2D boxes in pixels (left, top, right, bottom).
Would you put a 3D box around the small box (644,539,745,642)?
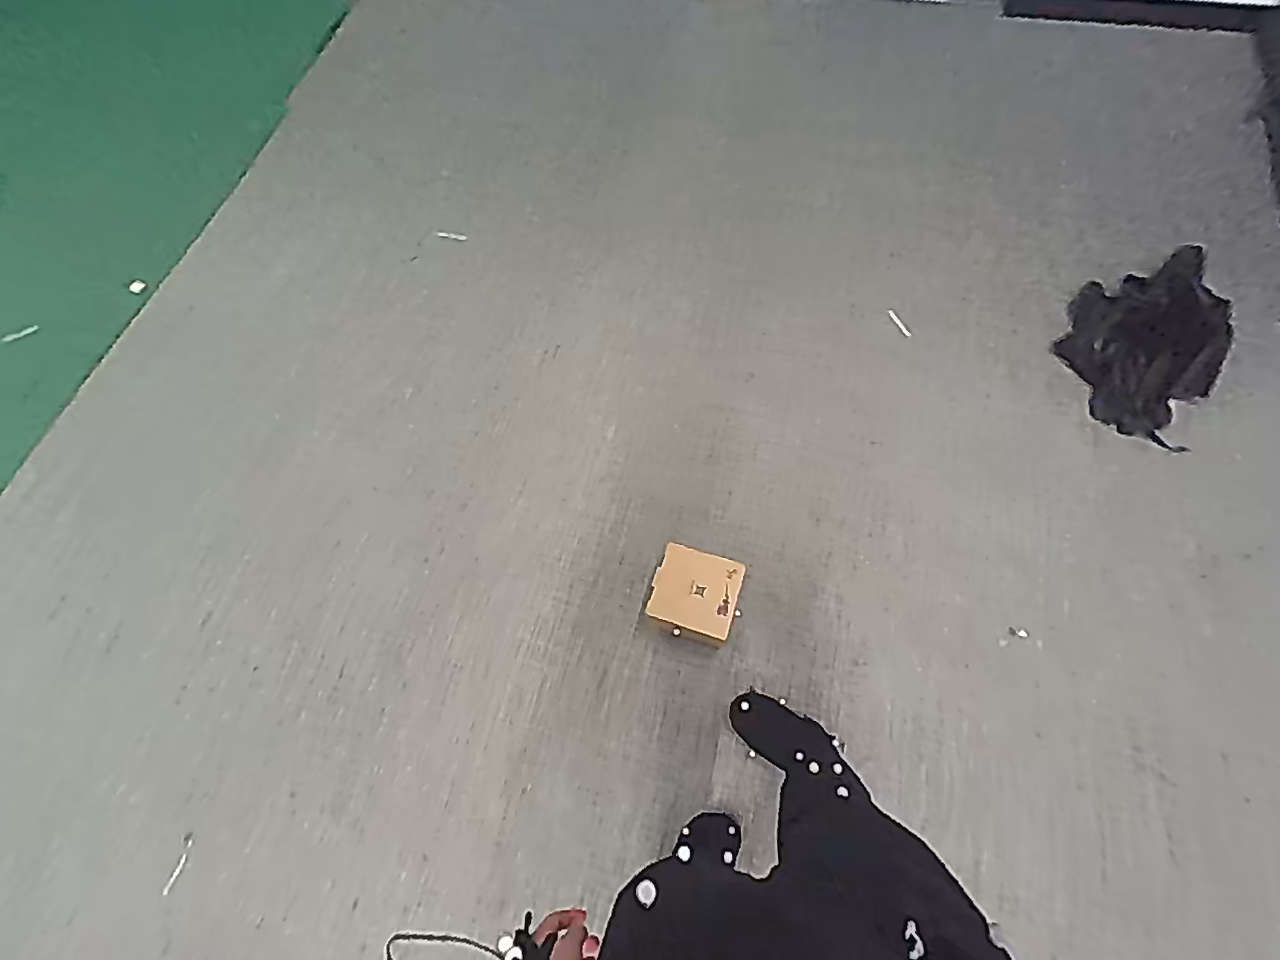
[{"bbox_3d":[0.120,0.251,1.199,0.179,0.176,0.168,16,70,11],"label":"small box"}]
